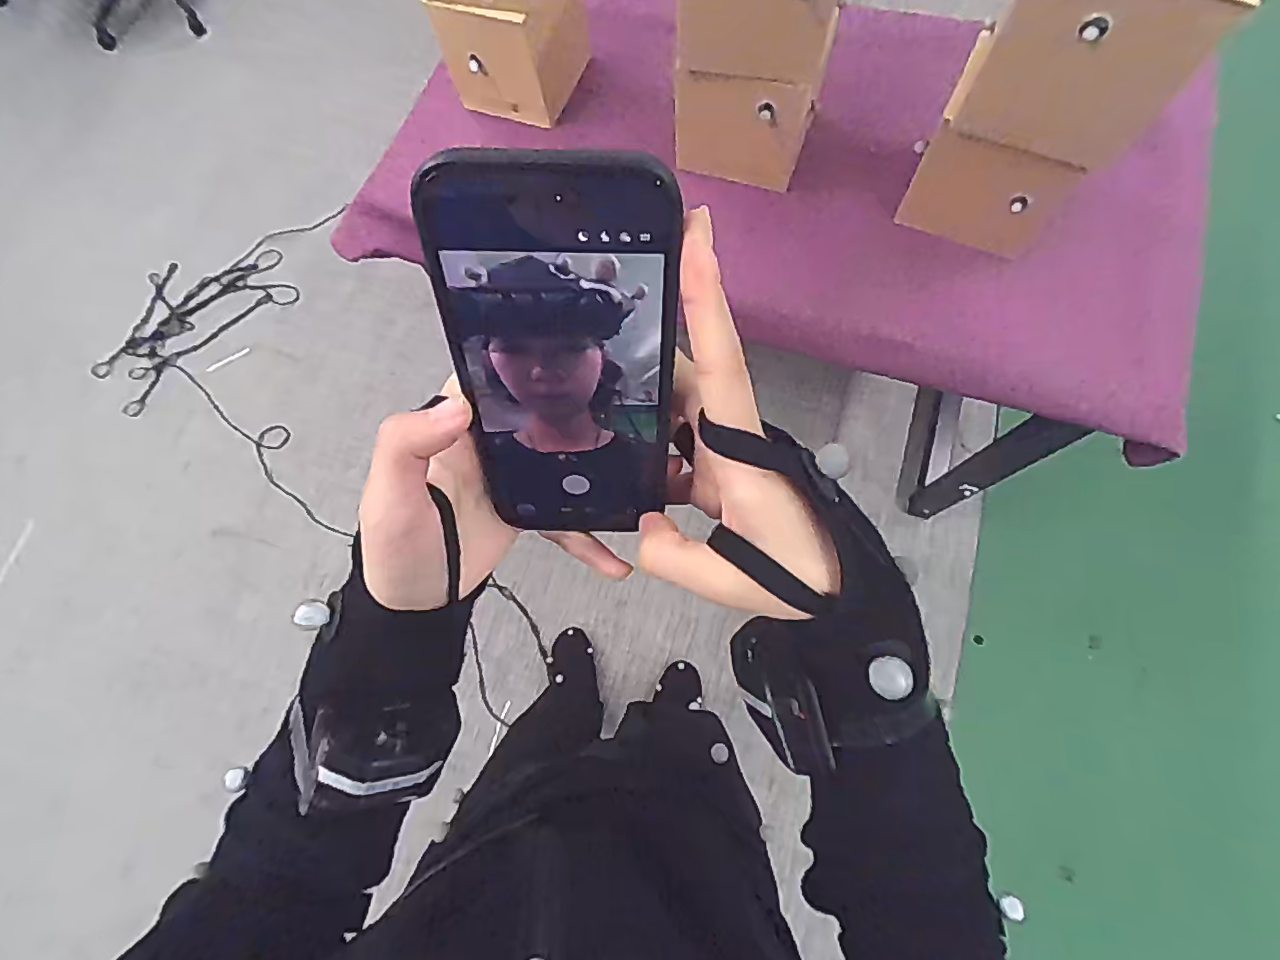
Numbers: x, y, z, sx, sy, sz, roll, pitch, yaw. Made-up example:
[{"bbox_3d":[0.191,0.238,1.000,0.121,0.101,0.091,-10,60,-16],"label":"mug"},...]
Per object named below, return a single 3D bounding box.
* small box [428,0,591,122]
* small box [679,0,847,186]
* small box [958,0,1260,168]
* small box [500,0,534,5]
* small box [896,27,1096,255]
[{"bbox_3d":[-0.189,-0.707,0.844,0.168,0.176,0.179,21,76,10],"label":"small box"},{"bbox_3d":[0.165,-0.558,0.770,0.179,0.176,0.168,20,76,10],"label":"small box"},{"bbox_3d":[0.465,-0.460,0.548,0.179,0.176,0.168,26,77,11],"label":"small box"},{"bbox_3d":[-0.199,-0.761,0.689,0.168,0.176,0.179,16,76,8],"label":"small box"},{"bbox_3d":[0.475,-0.430,0.710,0.179,0.176,0.168,26,77,12],"label":"small box"}]
